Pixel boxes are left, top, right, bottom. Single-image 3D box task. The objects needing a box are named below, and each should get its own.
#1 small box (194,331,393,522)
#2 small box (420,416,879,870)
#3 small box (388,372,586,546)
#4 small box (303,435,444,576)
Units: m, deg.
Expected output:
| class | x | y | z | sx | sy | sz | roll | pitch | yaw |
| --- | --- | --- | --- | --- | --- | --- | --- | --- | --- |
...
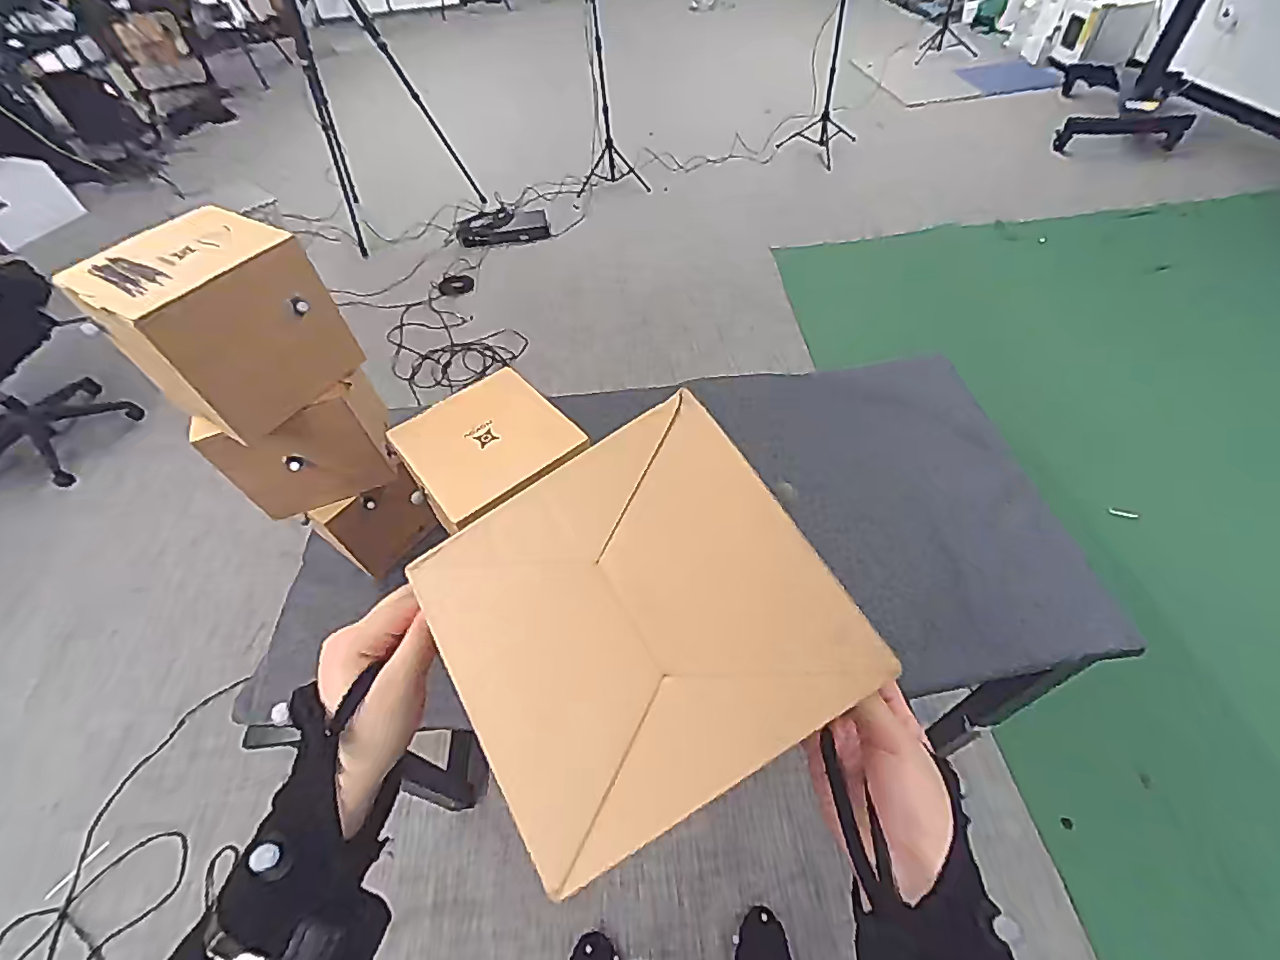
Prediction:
| class | x | y | z | sx | sy | sz | roll | pitch | yaw |
| --- | --- | --- | --- | --- | --- | --- | --- | --- | --- |
| small box | -0.462 | -0.072 | 0.751 | 0.179 | 0.176 | 0.168 | -21 | 53 | -10 |
| small box | 0.006 | 0.087 | 0.323 | 0.179 | 0.176 | 0.168 | -33 | 72 | 1 |
| small box | -0.163 | 0.007 | 0.656 | 0.168 | 0.176 | 0.179 | -35 | 55 | -21 |
| small box | -0.449 | 0.028 | 0.882 | 0.179 | 0.176 | 0.168 | 27 | 59 | 25 |
